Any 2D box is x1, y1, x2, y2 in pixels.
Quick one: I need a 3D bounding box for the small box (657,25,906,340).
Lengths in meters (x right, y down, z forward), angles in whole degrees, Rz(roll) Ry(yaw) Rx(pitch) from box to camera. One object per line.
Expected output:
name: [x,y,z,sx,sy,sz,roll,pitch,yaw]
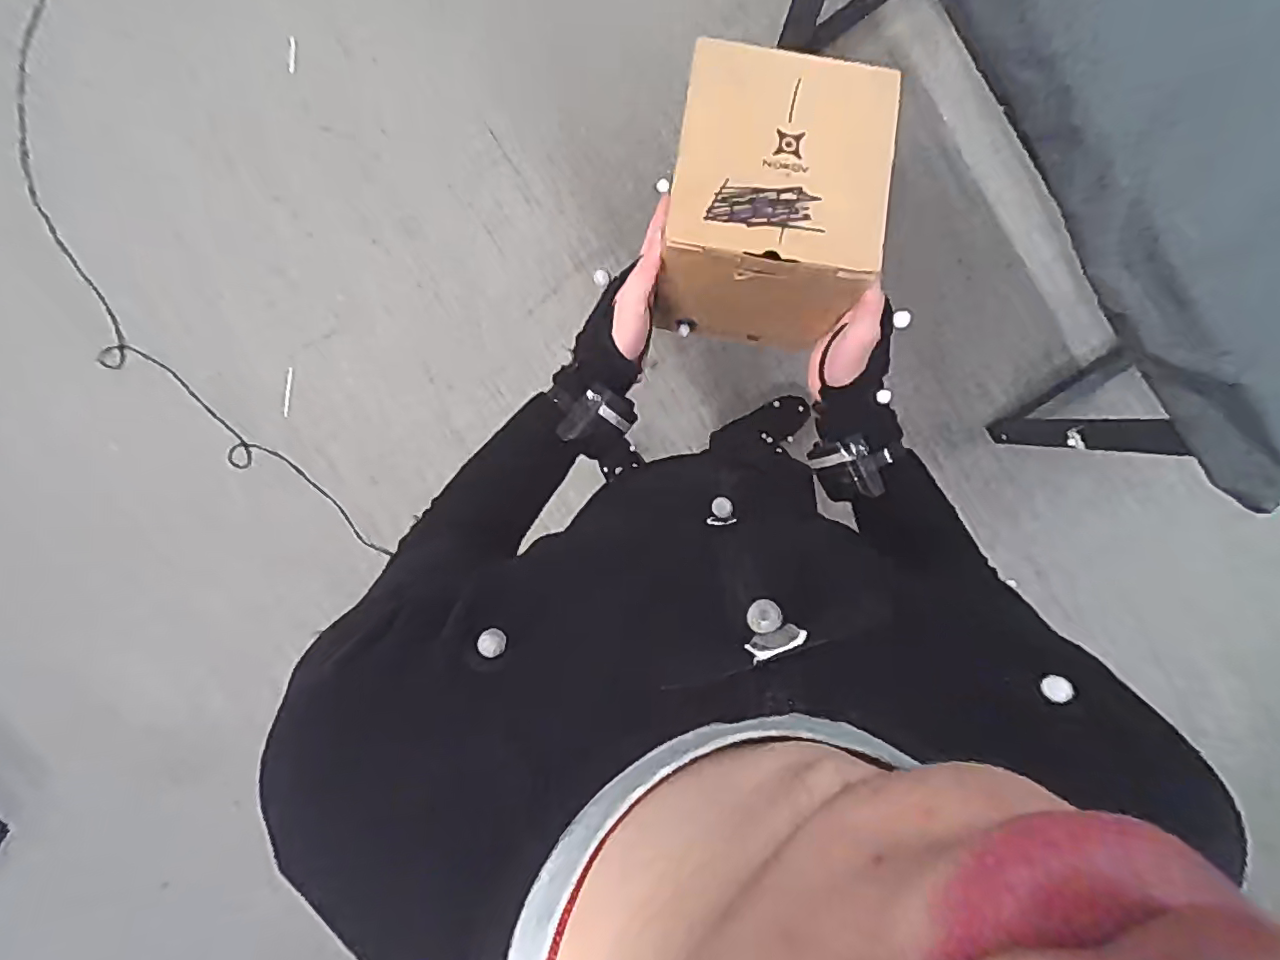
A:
small box: [0.109,-0.244,0.487,0.168,0.176,0.179,10,83,-1]
